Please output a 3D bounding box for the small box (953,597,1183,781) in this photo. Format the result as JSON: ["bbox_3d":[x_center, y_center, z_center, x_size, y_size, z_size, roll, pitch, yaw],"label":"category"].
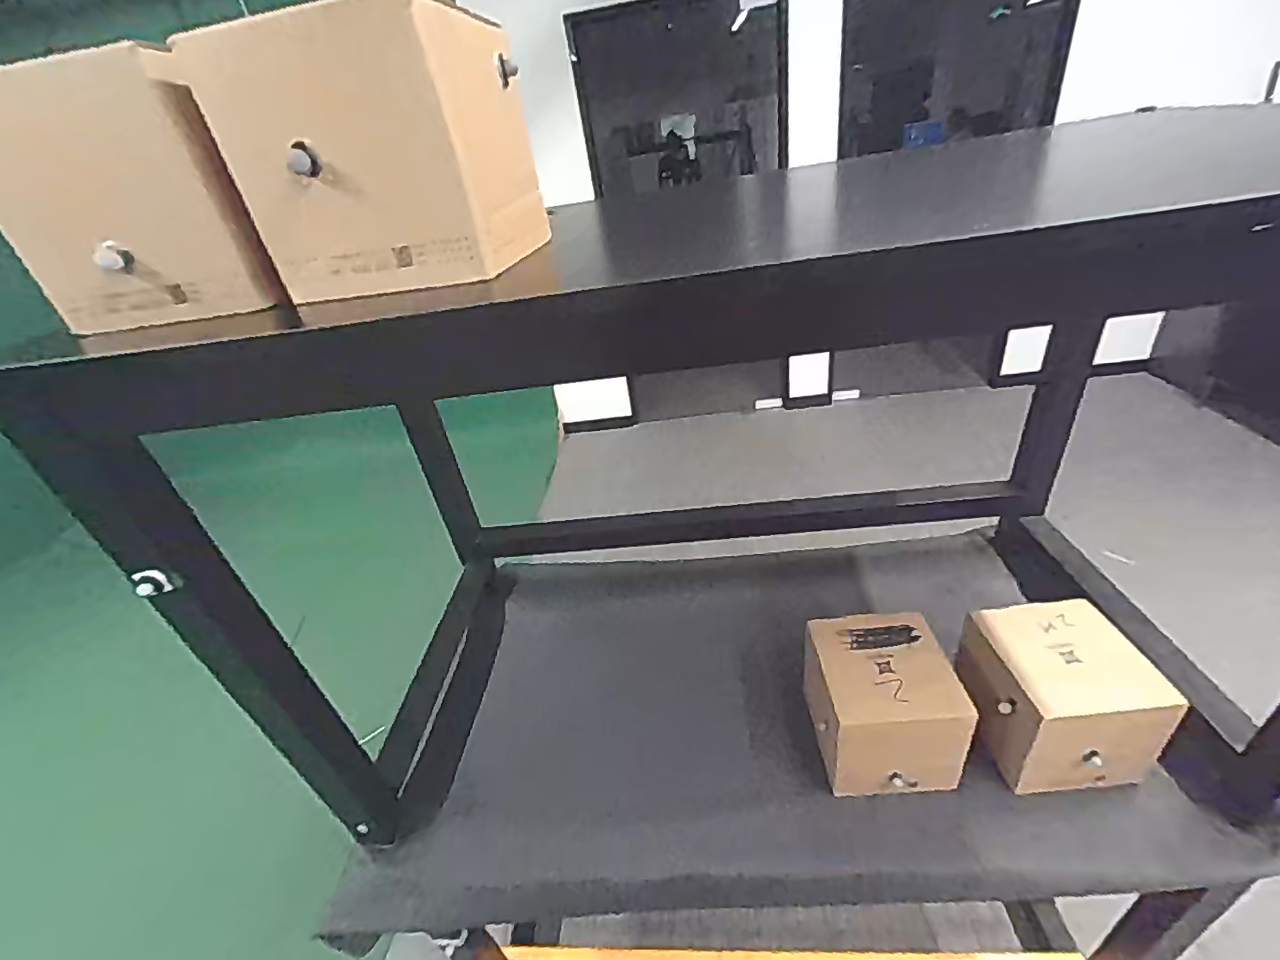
[{"bbox_3d":[0.567,0.292,0.748,0.168,0.176,0.179,-7,31,3],"label":"small box"}]

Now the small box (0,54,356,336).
[{"bbox_3d":[-0.374,-0.233,0.456,0.168,0.176,0.179,-6,33,5],"label":"small box"}]
